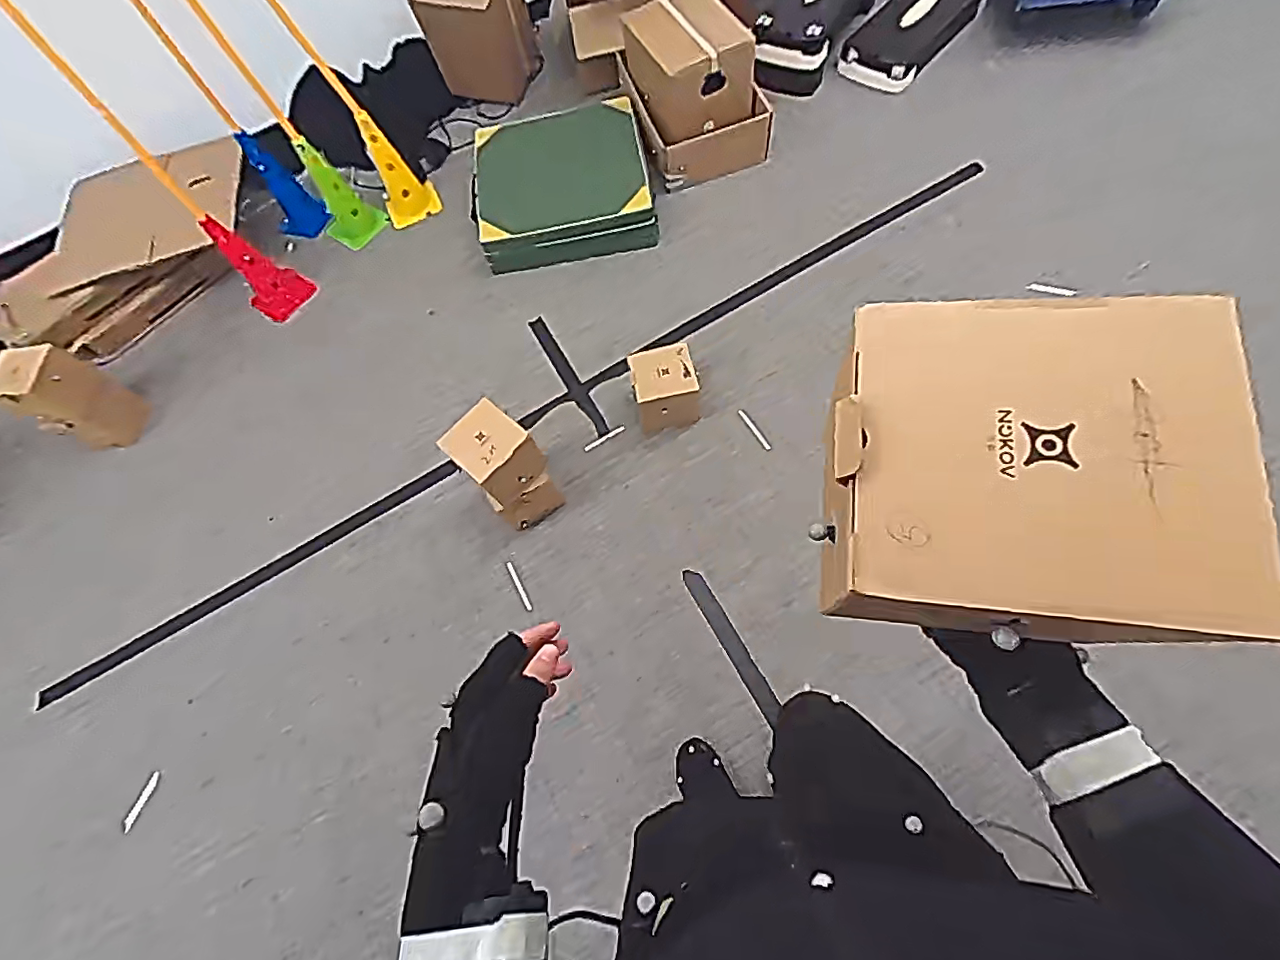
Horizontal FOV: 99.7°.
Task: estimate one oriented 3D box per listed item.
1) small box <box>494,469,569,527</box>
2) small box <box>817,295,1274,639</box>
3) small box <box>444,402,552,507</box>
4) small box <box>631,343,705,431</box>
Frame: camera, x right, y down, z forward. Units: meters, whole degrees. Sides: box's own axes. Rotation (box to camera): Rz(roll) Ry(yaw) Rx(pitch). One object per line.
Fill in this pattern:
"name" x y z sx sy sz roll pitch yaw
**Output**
"small box" -0.320 0.013 1.517 0.168 0.176 0.179 -32 65 -5
"small box" 0.209 0.005 0.340 0.179 0.176 0.168 4 75 16
"small box" -0.352 -0.057 1.371 0.168 0.176 0.179 -44 70 -9
"small box" 0.084 -0.265 1.578 0.179 0.176 0.168 -15 65 0
